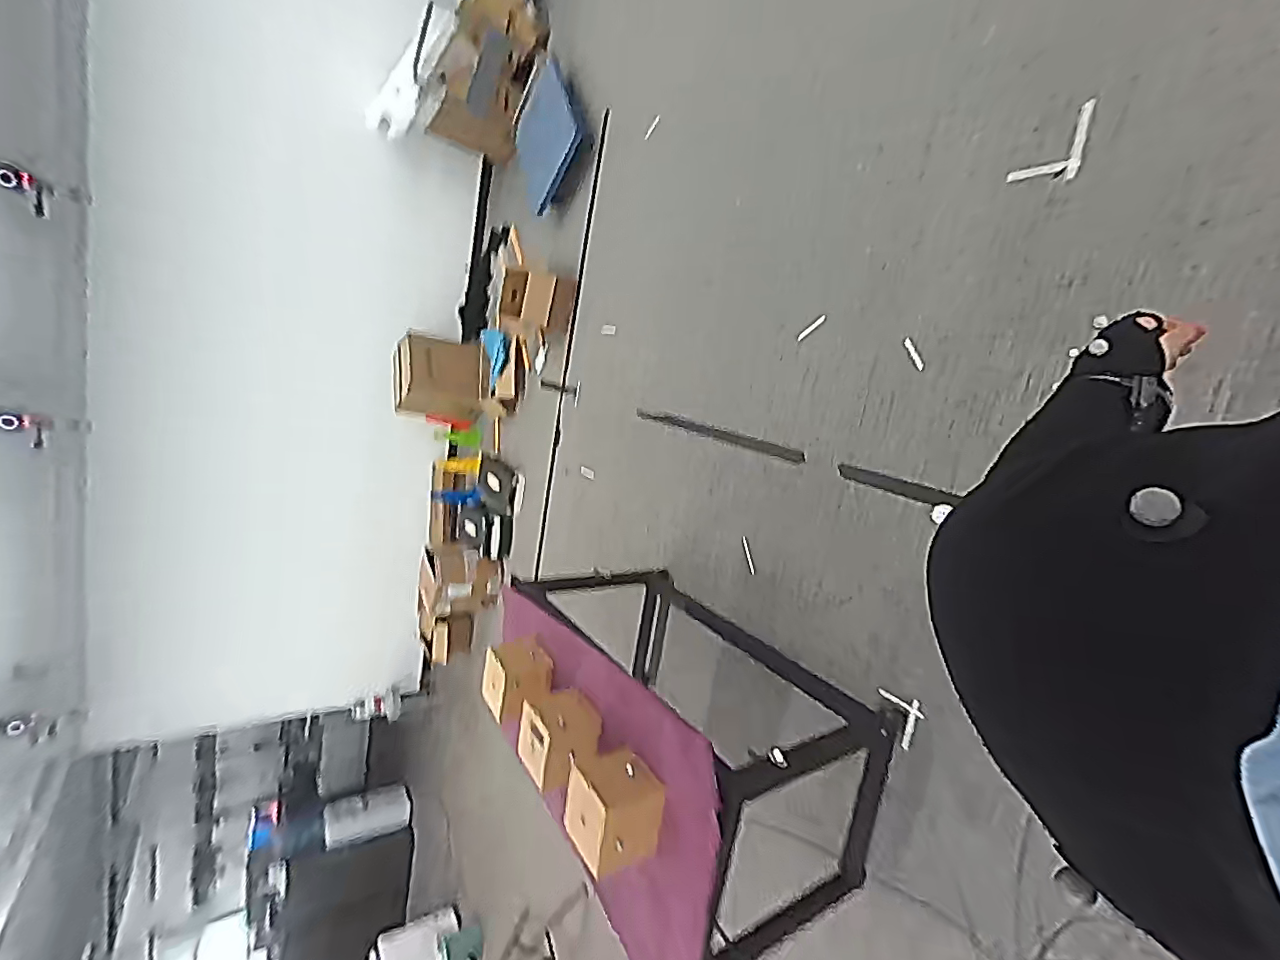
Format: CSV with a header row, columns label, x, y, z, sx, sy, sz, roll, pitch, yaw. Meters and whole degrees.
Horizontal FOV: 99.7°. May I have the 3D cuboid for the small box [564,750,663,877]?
label,x,y,z,sx,sy,sz,roll,pitch,yaw
small box,-0.062,0.785,1.292,0.168,0.176,0.179,20,103,54

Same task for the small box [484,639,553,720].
label,x,y,z,sx,sy,sz,roll,pitch,yaw
small box,-0.398,0.647,1.773,0.168,0.176,0.179,28,111,51
